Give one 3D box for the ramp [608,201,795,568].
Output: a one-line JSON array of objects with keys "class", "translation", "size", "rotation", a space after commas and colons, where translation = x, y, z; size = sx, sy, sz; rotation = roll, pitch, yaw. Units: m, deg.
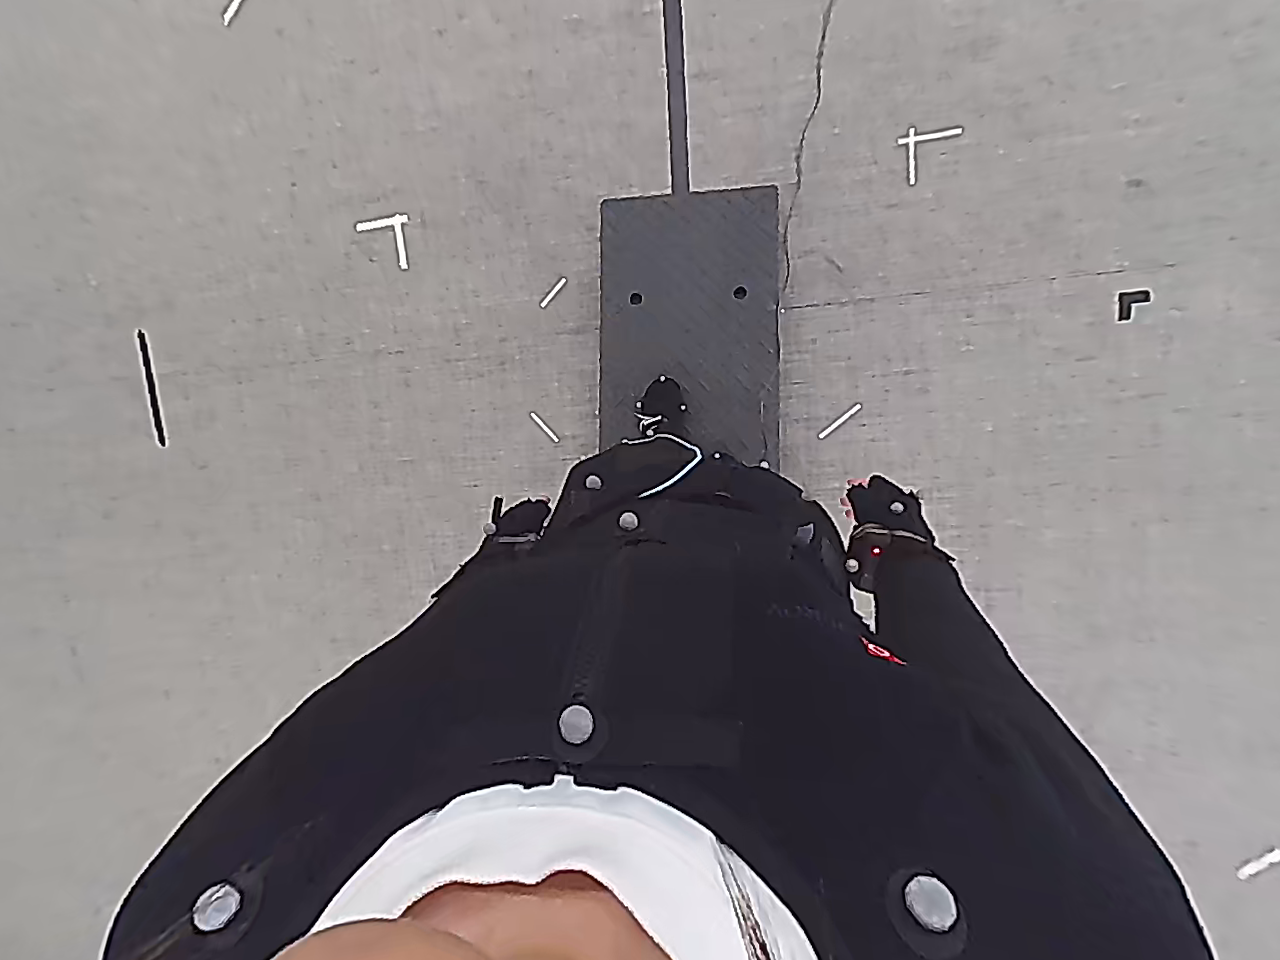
[{"class": "ramp", "translation": [0.153, -0.263, 1.486], "size": [0.509, 0.206, 0.991], "rotation": [-3, 95, 11]}]
